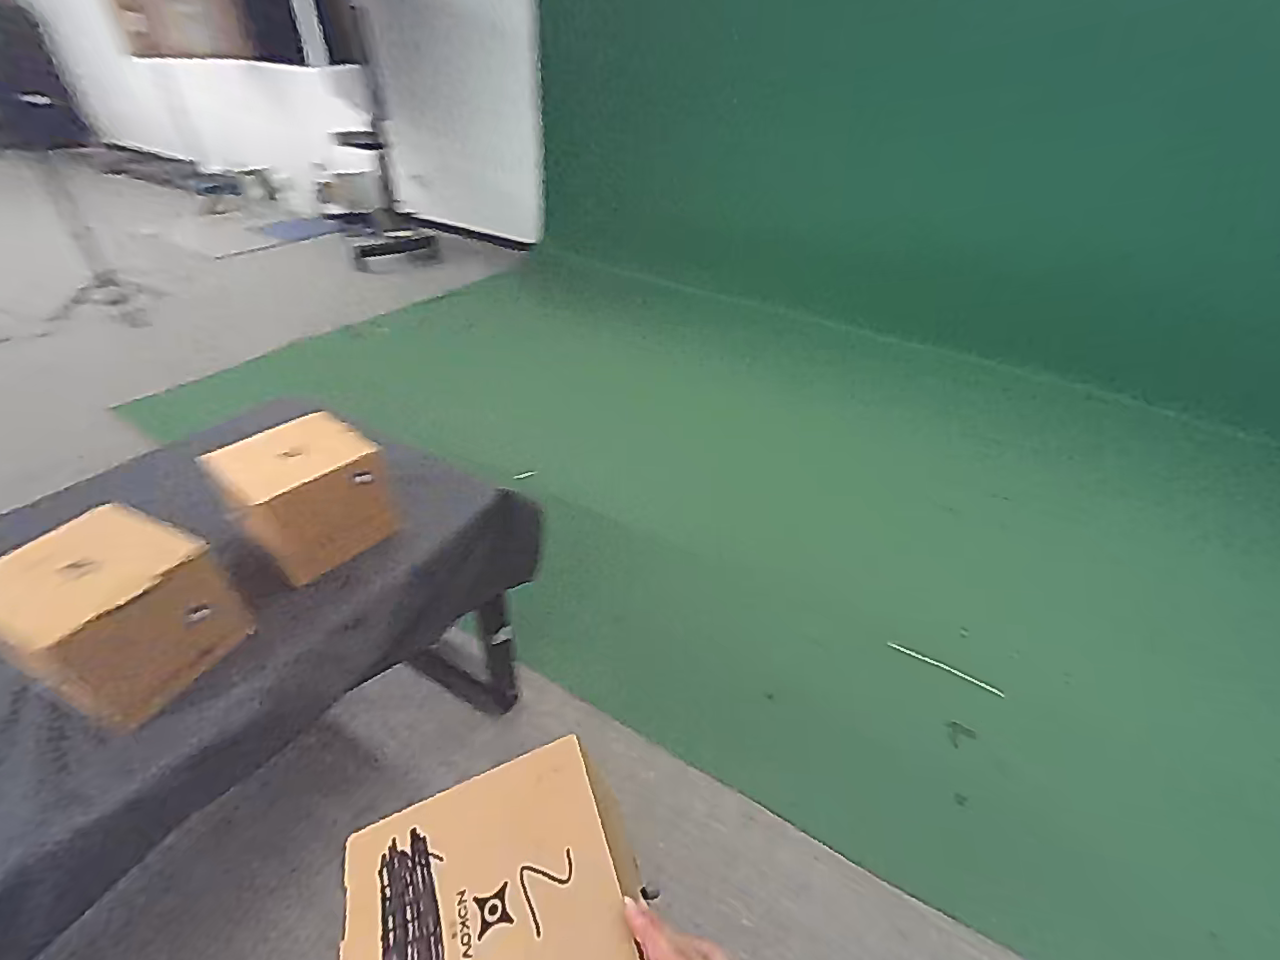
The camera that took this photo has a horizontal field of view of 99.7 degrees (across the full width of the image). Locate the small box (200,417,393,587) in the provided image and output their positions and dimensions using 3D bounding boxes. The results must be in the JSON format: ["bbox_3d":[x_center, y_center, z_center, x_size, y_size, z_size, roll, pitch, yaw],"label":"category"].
[{"bbox_3d":[-0.519,0.033,0.838,0.168,0.176,0.179,26,42,26],"label":"small box"}]

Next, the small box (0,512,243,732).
[{"bbox_3d":[-0.634,0.170,0.650,0.179,0.176,0.168,15,38,15],"label":"small box"}]
